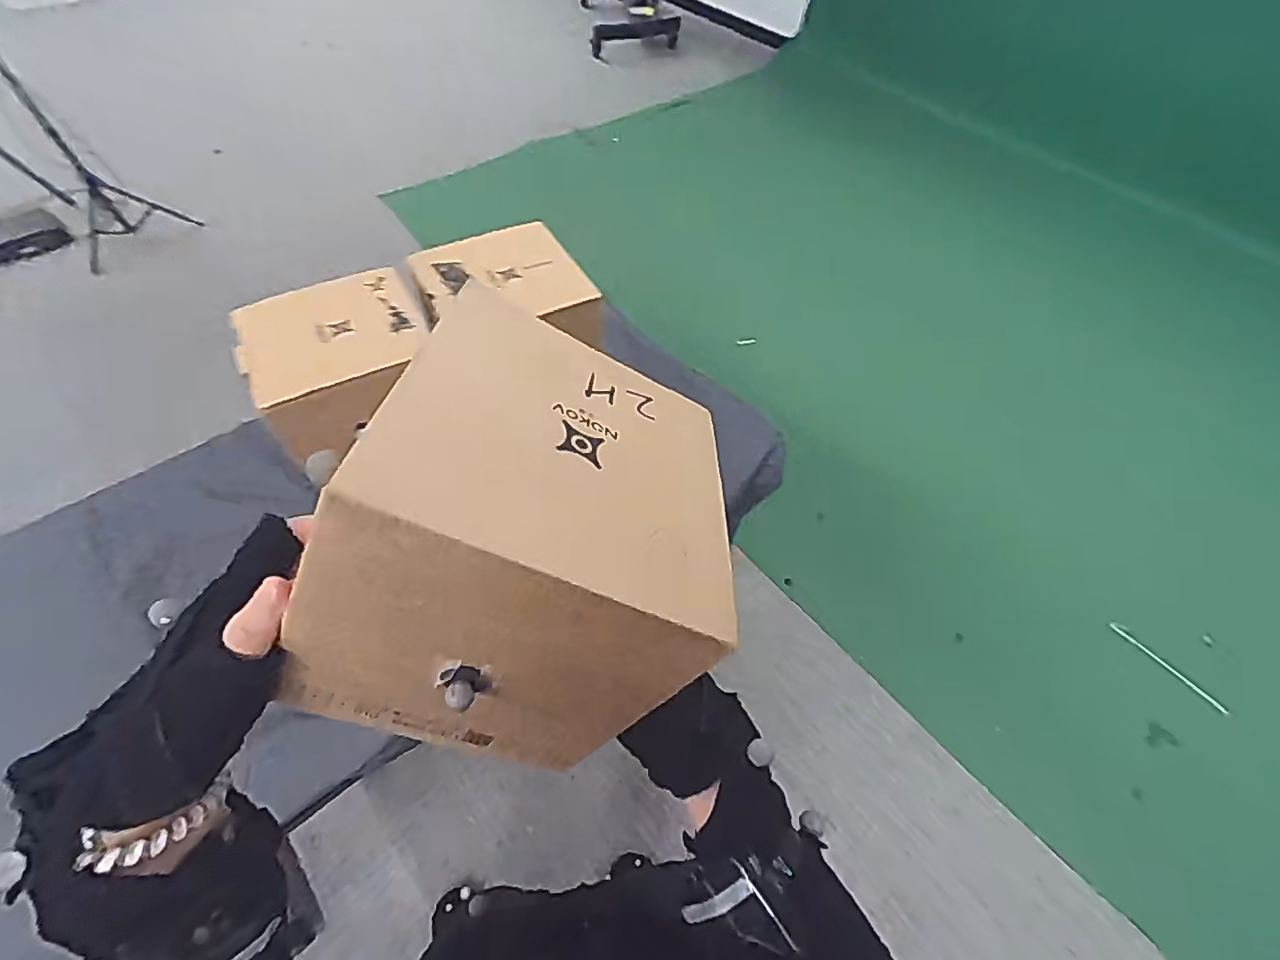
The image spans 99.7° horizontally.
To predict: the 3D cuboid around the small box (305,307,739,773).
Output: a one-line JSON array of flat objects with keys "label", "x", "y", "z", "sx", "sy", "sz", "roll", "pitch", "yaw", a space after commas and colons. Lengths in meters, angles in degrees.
[{"label": "small box", "x": -0.065, "y": 0.040, "z": 0.314, "sx": 0.168, "sy": 0.176, "sz": 0.179, "roll": 25, "pitch": 36, "yaw": -18}]
